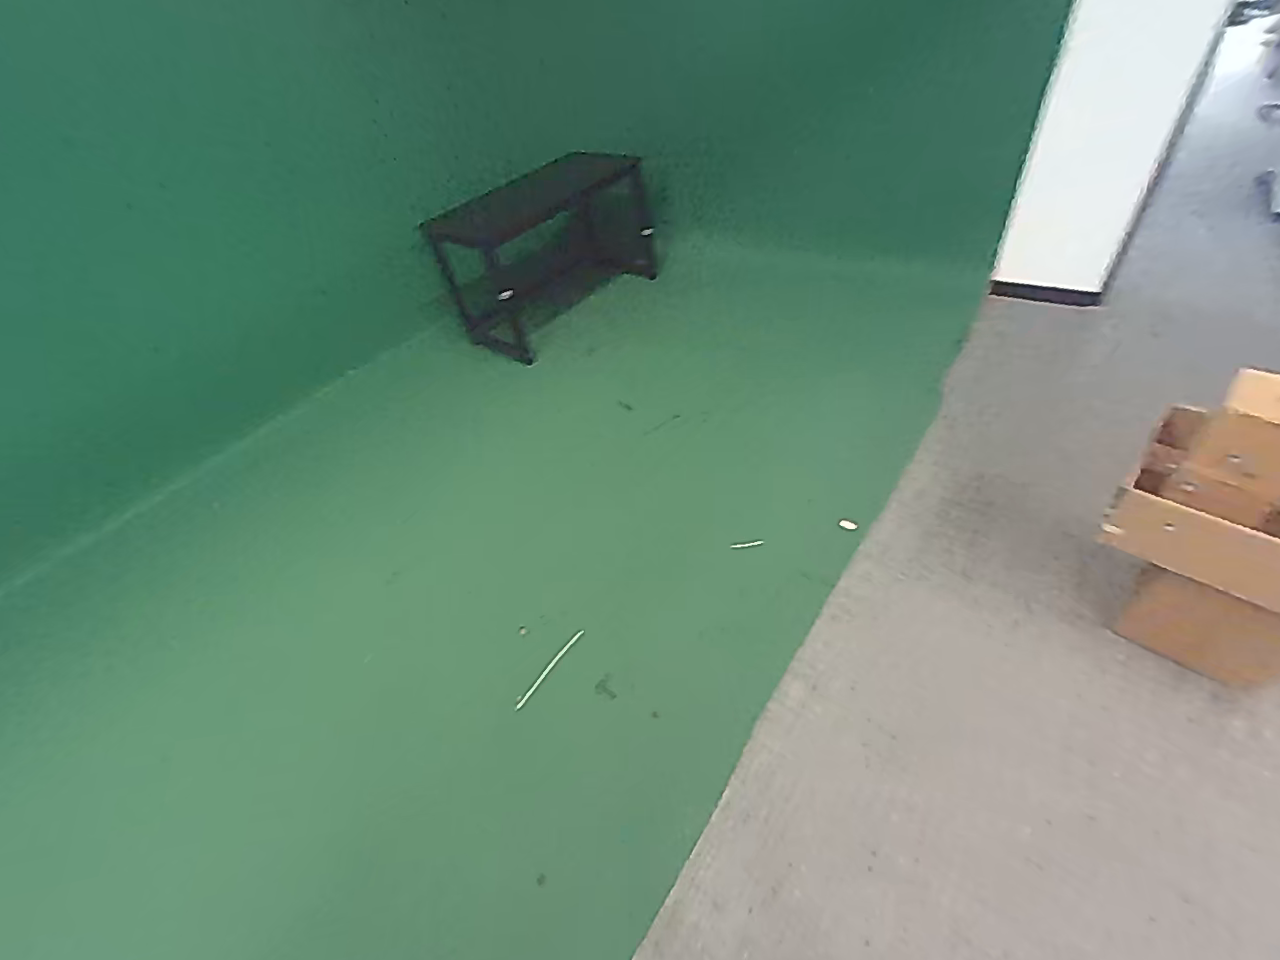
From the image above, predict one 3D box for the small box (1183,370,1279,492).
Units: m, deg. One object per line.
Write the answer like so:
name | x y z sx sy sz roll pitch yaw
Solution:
small box | 1.354 -0.108 1.186 0.179 0.176 0.168 -40 51 -24
